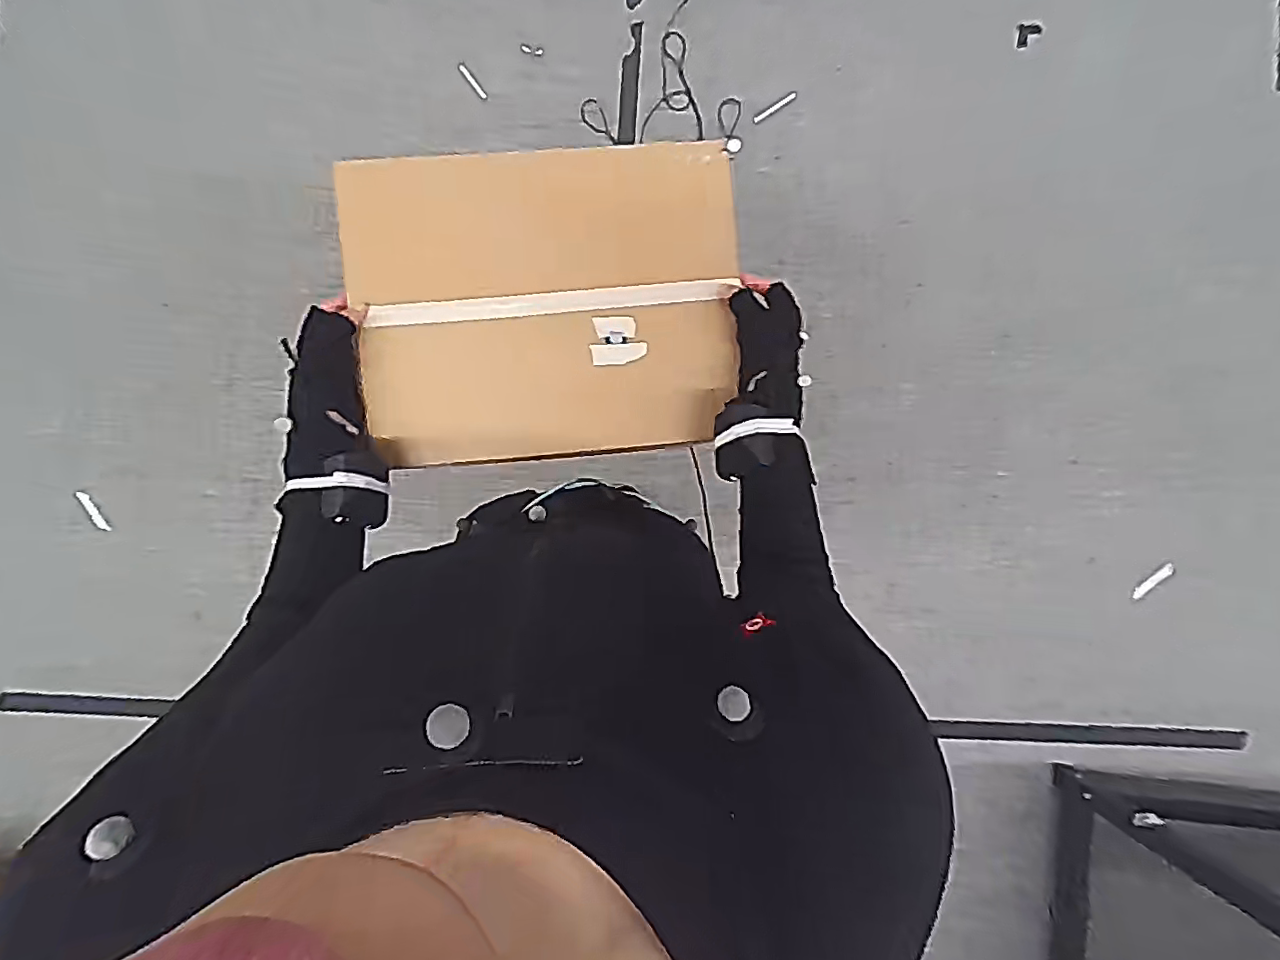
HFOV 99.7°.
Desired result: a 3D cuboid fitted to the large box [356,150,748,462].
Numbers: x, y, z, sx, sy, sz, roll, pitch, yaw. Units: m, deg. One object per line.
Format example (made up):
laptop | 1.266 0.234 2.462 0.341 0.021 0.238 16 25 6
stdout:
large box | -0.100 -0.195 0.728 0.408 0.320 0.320 -4 94 -4
